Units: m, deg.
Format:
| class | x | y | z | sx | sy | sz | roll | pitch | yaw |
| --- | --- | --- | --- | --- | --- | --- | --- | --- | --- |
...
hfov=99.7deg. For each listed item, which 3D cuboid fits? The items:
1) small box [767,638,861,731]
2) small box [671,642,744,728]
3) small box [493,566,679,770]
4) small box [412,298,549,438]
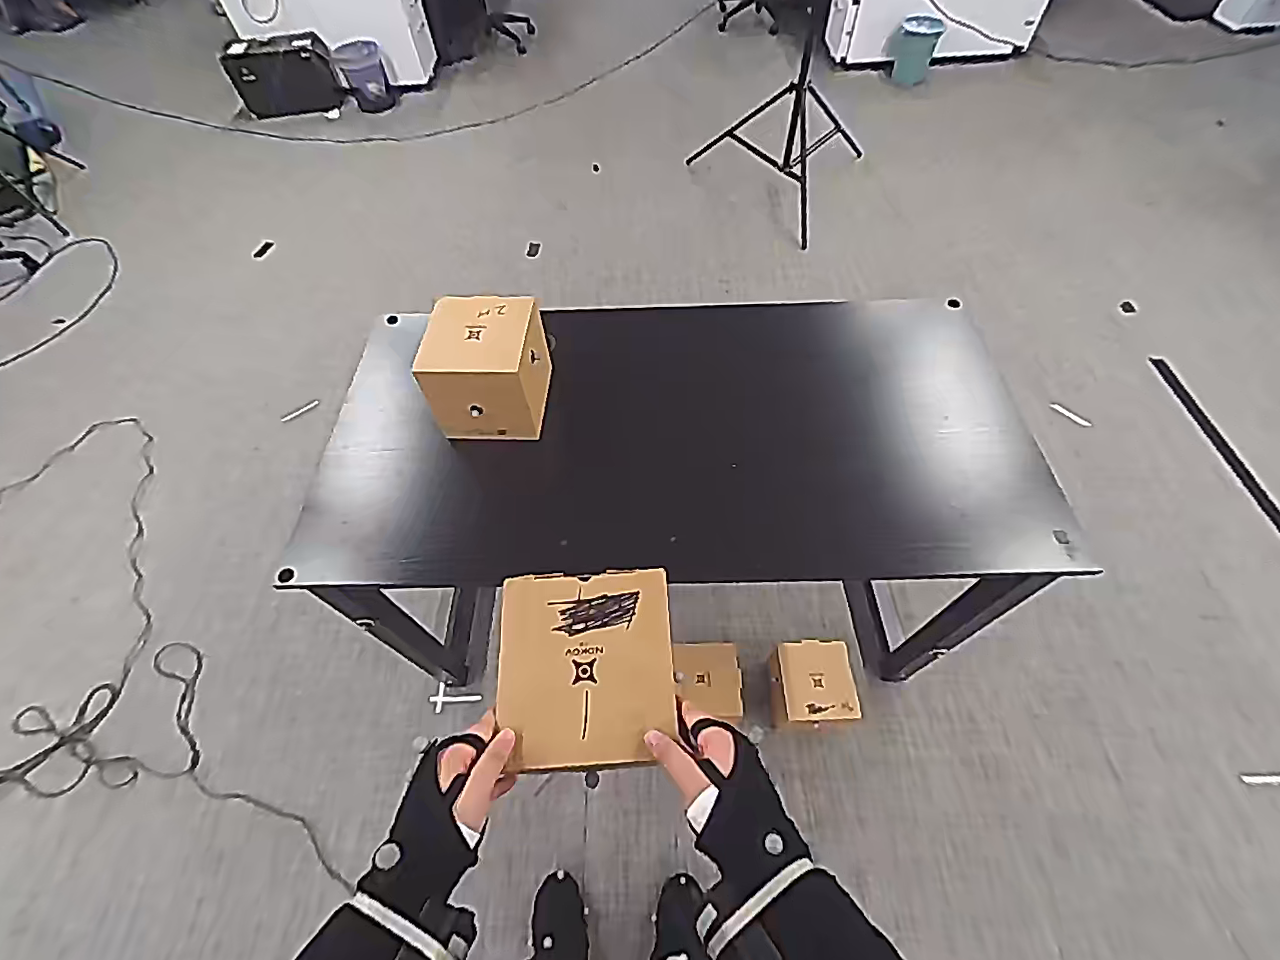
| class | x | y | z | sx | sy | sz | roll | pitch | yaw |
| --- | --- | --- | --- | --- | --- | --- | --- | --- | --- |
| small box | 0.412 | 0.498 | 1.312 | 0.168 | 0.176 | 0.179 | -3 | 56 | 2 |
| small box | 0.149 | 0.504 | 1.324 | 0.179 | 0.176 | 0.168 | -3 | 56 | 2 |
| small box | -0.051 | 0.206 | 0.581 | 0.168 | 0.176 | 0.179 | -4 | 61 | -1 |
| small box | -0.258 | -0.186 | 0.924 | 0.168 | 0.176 | 0.179 | 1 | 56 | 3 |
